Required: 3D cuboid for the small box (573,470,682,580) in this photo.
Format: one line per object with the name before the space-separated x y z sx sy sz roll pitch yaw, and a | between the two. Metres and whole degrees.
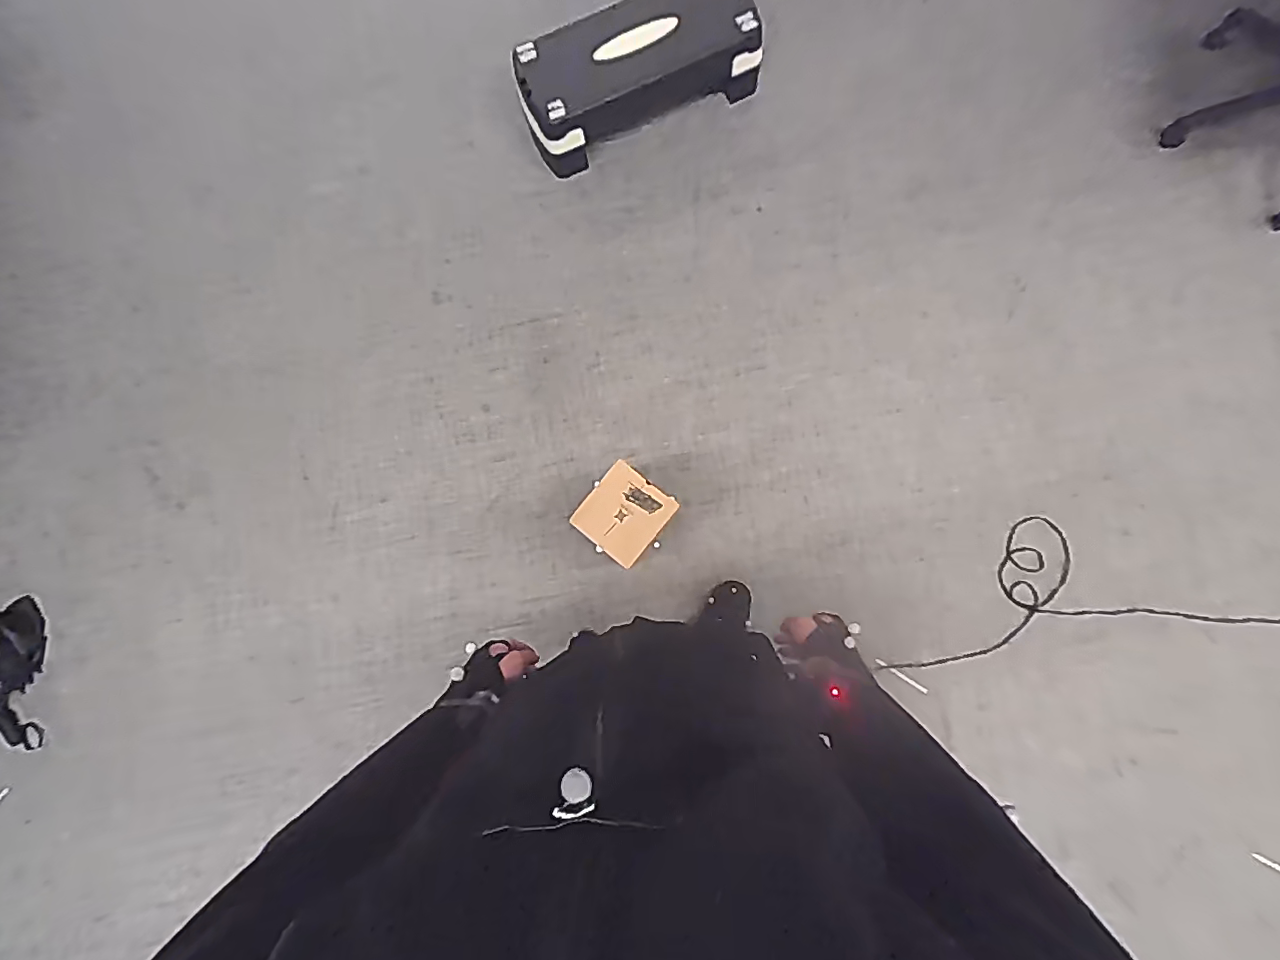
small box | -0.023 0.104 1.209 0.168 0.176 0.179 38 86 9
